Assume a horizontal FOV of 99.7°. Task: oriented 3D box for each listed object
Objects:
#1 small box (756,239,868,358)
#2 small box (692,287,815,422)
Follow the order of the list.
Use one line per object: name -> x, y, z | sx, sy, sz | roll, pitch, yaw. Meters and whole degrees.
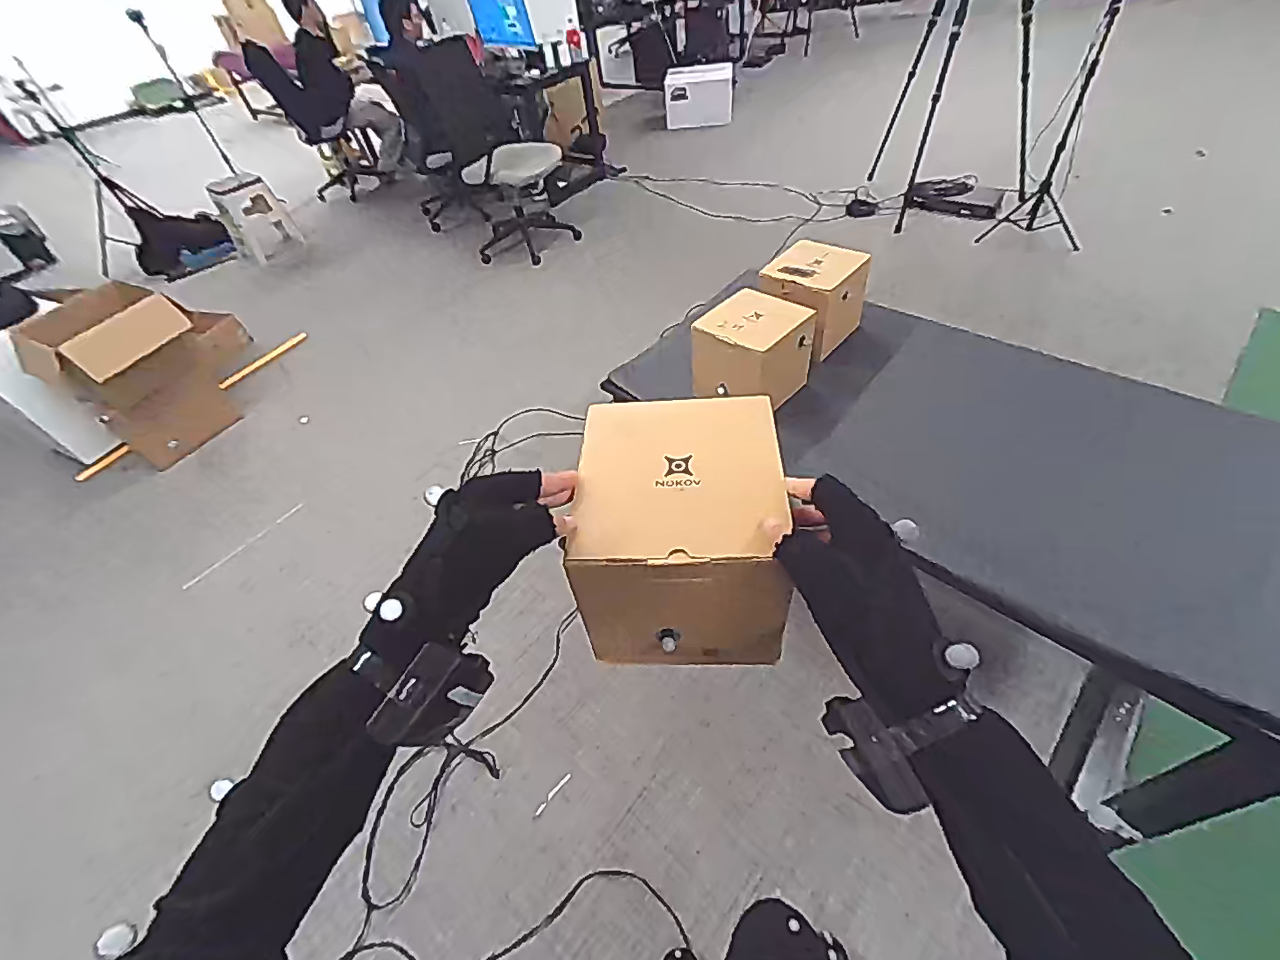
small box -> 0.368, -0.394, 1.178 | 0.168, 0.176, 0.179 | 31, 59, 31
small box -> 0.217, -0.248, 1.068 | 0.168, 0.176, 0.179 | 32, 59, 32
